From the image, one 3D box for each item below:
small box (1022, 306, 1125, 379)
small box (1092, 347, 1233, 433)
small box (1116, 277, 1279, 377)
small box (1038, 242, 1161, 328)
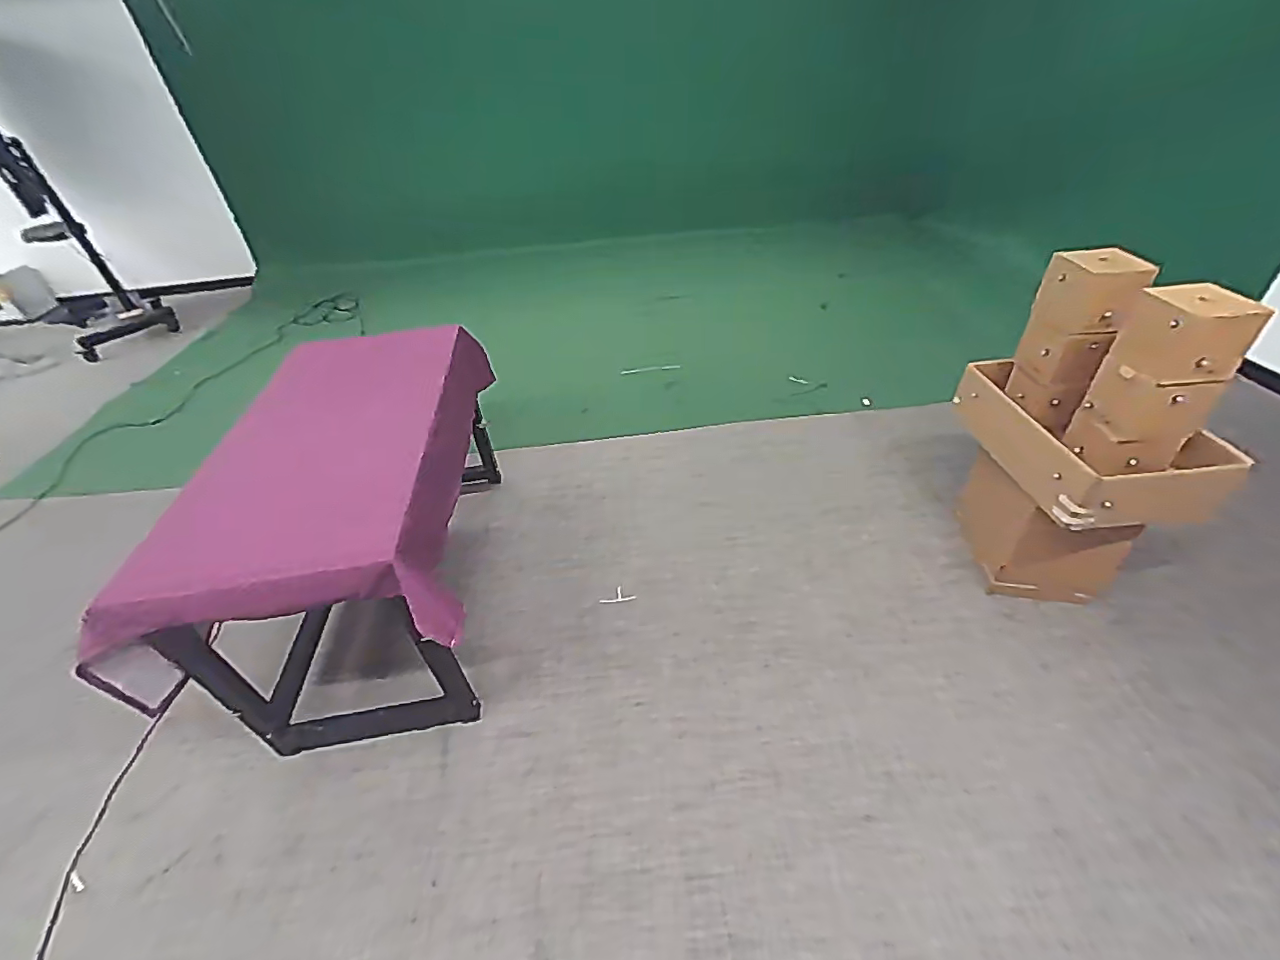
[{"bbox_3d":[1.264,-0.408,1.584,0.179,0.176,0.168,-5,40,1],"label":"small box"},{"bbox_3d":[1.294,-0.229,1.362,0.179,0.176,0.168,-4,39,2],"label":"small box"},{"bbox_3d":[1.280,-0.358,1.263,0.168,0.176,0.179,-5,40,2],"label":"small box"},{"bbox_3d":[1.242,-0.534,1.480,0.168,0.176,0.179,-4,40,4],"label":"small box"}]
